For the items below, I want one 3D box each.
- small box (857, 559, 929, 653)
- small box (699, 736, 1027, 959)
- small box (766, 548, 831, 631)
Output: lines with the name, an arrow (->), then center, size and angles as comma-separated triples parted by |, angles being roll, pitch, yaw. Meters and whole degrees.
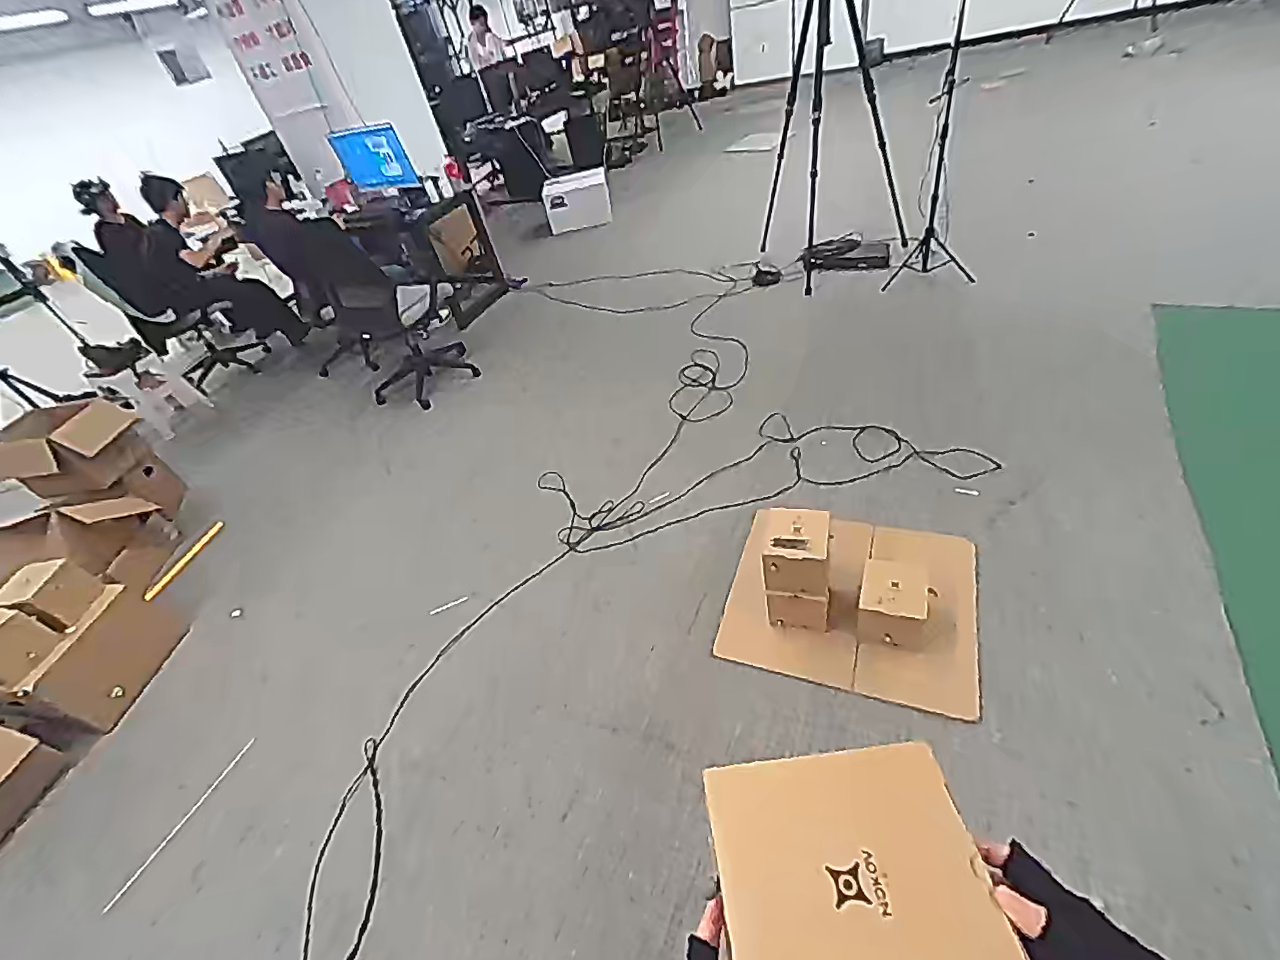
small box -> 0.709, 0.353, 1.521 | 0.168, 0.176, 0.179 | 6, 46, 26
small box -> 0.145, 0.319, 0.406 | 0.179, 0.176, 0.168 | -7, 42, 0
small box -> 0.479, 0.328, 1.617 | 0.168, 0.176, 0.179 | 4, 45, 22
